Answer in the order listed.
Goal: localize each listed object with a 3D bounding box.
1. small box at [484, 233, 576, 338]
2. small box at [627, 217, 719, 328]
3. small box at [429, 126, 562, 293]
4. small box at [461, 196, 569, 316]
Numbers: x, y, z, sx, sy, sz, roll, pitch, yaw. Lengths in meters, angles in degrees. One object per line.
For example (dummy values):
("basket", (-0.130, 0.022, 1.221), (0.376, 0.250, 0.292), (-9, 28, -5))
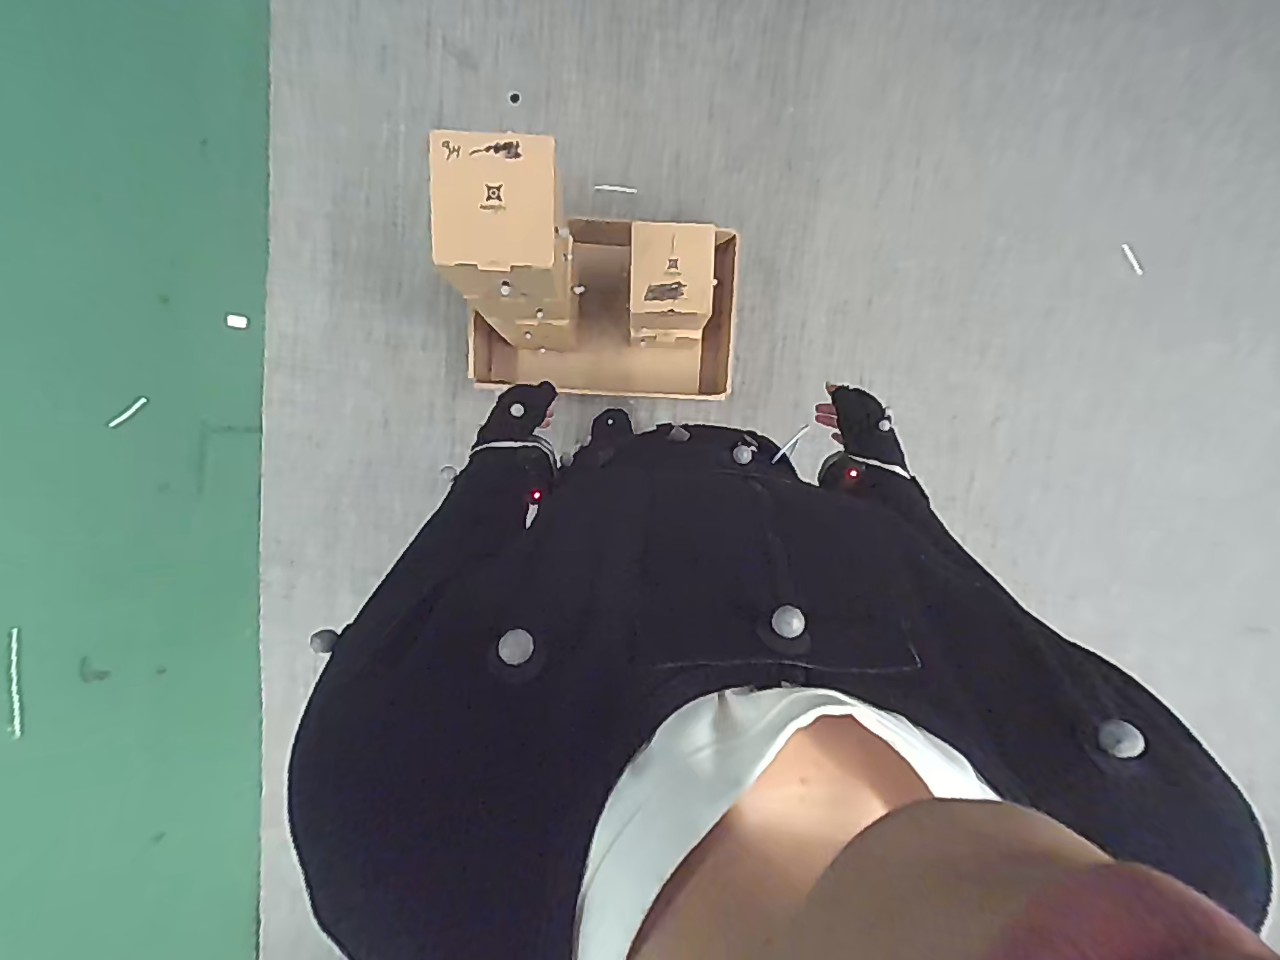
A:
("small box", (-0.223, -0.404, 1.125), (0.168, 0.176, 0.179), (3, 96, -4))
("small box", (0.062, -0.422, 1.129), (0.168, 0.176, 0.179), (4, 95, -4))
("small box", (-0.203, -0.383, 0.798), (0.168, 0.176, 0.179), (1, 96, -5))
("small box", (-0.214, -0.395, 0.961), (0.168, 0.176, 0.179), (1, 95, -4))
